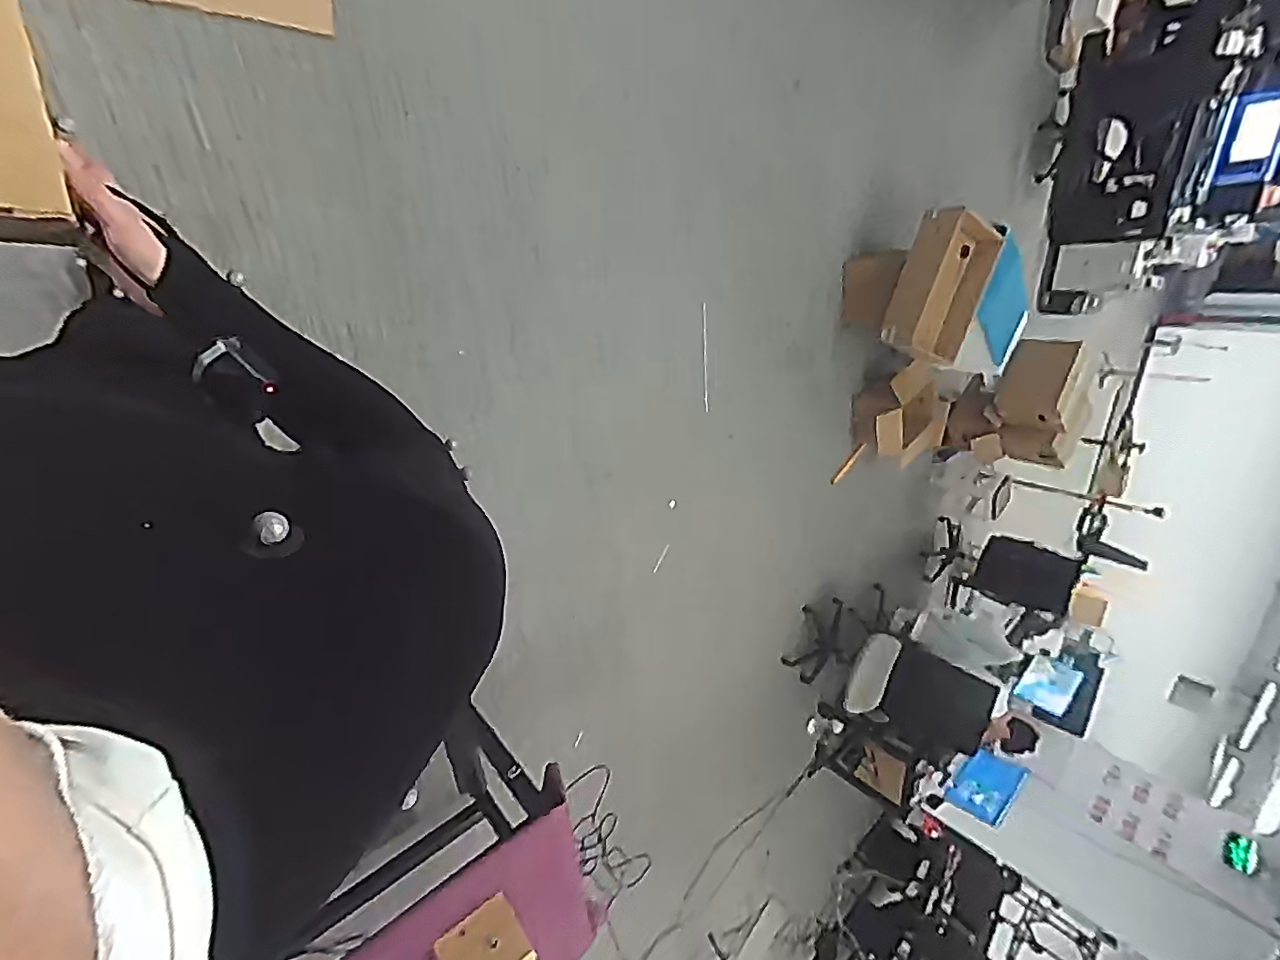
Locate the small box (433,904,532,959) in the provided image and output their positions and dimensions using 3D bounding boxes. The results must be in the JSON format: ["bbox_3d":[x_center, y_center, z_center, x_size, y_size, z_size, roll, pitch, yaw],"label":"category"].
[{"bbox_3d":[-0.347,1.112,1.215,0.168,0.176,0.179,-20,118,-36],"label":"small box"}]

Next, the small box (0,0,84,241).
[{"bbox_3d":[-0.536,-0.279,0.385,0.168,0.176,0.179,-14,108,-40],"label":"small box"}]
